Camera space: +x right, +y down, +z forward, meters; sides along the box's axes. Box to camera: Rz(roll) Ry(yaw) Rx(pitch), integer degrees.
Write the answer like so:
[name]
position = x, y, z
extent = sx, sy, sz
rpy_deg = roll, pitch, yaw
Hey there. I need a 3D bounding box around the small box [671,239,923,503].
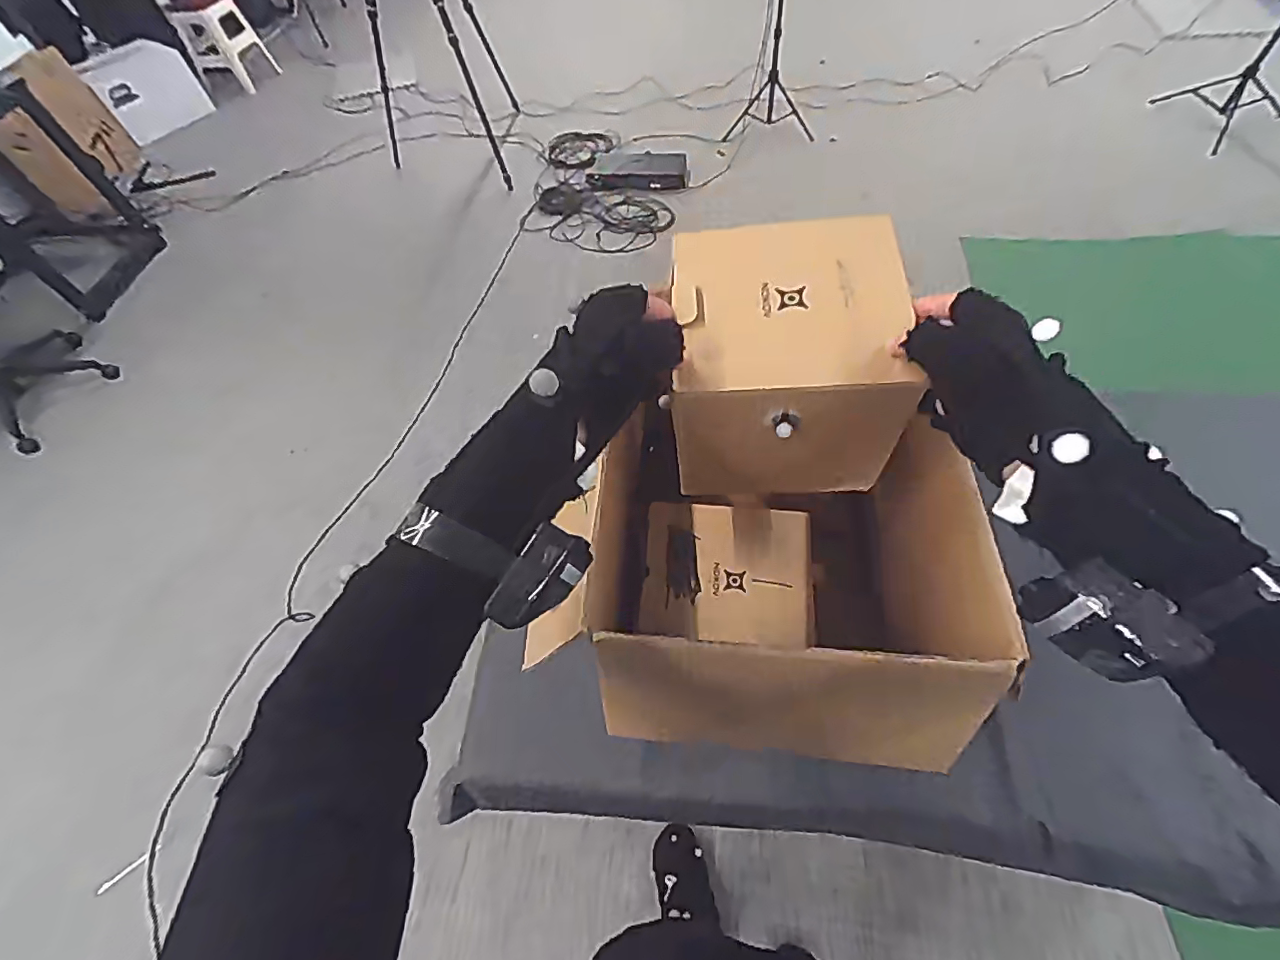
[small box]
position = 0.121, -0.086, 0.488
extent = 0.179, 0.176, 0.168
rpy_deg = -2, 62, 6
